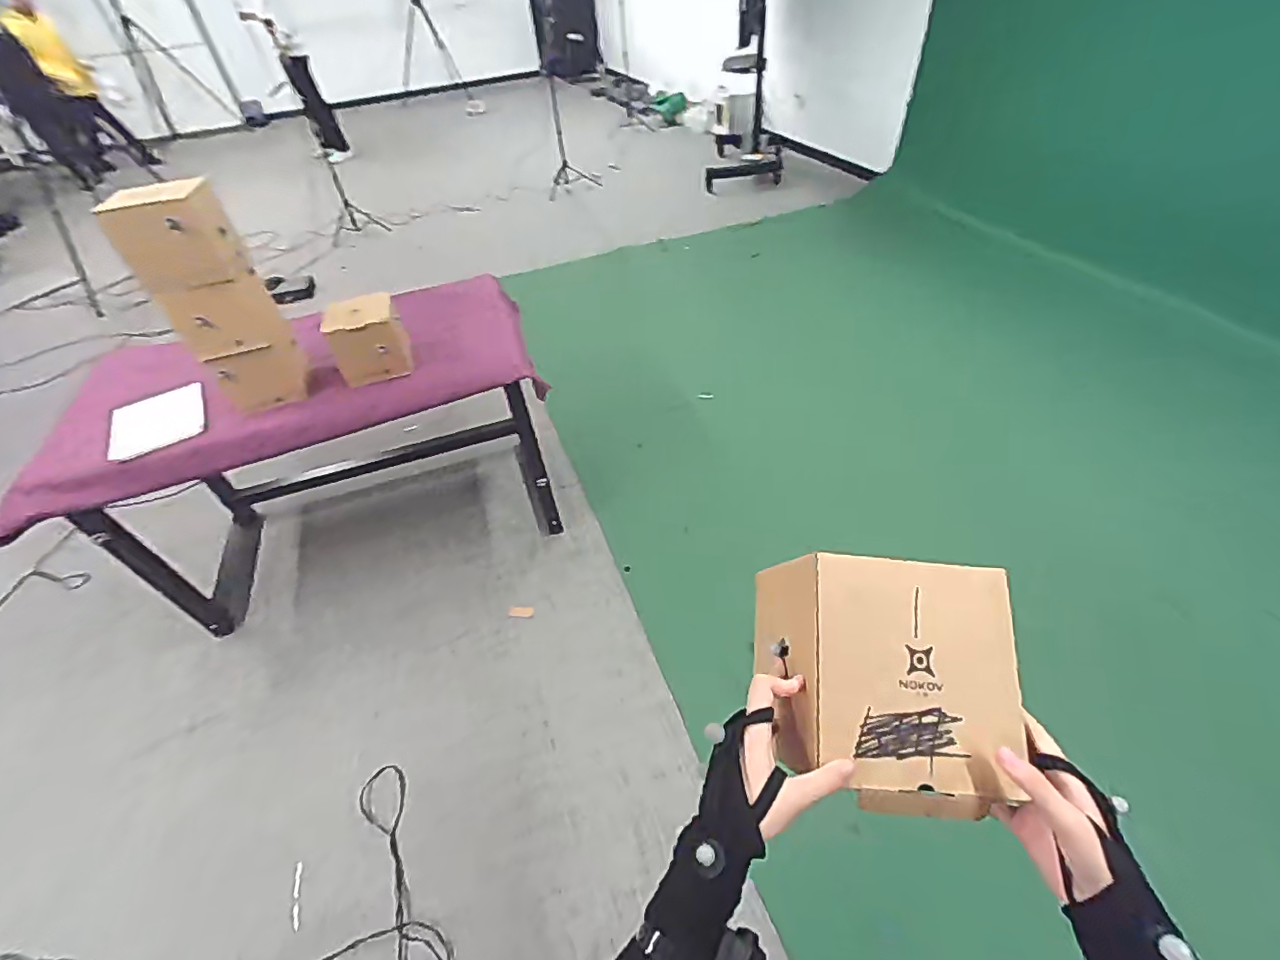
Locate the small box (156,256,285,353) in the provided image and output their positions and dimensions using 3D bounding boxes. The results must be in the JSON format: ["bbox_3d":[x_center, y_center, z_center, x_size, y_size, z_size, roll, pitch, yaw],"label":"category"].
[{"bbox_3d":[-0.982,-0.417,1.287,0.168,0.176,0.179,-16,44,-10],"label":"small box"}]

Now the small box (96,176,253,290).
[{"bbox_3d":[-0.986,-0.533,1.169,0.179,0.176,0.168,-15,44,-8],"label":"small box"}]

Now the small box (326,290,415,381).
[{"bbox_3d":[-0.716,-0.382,1.454,0.168,0.176,0.179,-16,44,-11],"label":"small box"}]

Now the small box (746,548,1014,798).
[{"bbox_3d":[0.202,0.170,0.502,0.168,0.176,0.179,7,73,-4],"label":"small box"}]
